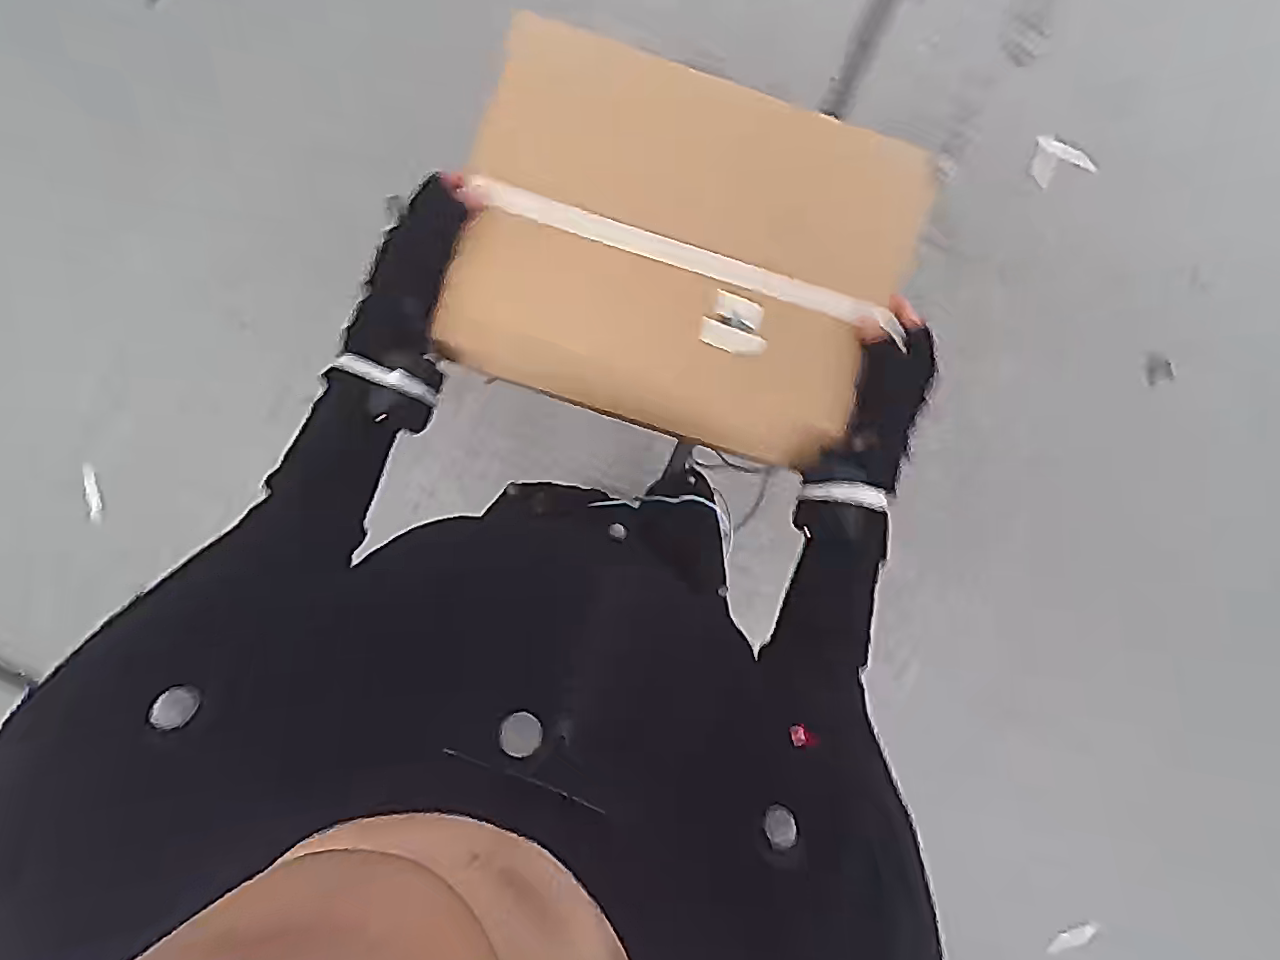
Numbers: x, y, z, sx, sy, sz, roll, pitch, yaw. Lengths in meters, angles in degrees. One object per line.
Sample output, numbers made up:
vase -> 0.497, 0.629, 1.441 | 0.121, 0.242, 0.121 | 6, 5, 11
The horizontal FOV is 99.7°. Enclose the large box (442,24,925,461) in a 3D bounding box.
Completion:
large box -> 0.034, -0.231, 0.660 | 0.408, 0.320, 0.320 | 17, 96, -4
